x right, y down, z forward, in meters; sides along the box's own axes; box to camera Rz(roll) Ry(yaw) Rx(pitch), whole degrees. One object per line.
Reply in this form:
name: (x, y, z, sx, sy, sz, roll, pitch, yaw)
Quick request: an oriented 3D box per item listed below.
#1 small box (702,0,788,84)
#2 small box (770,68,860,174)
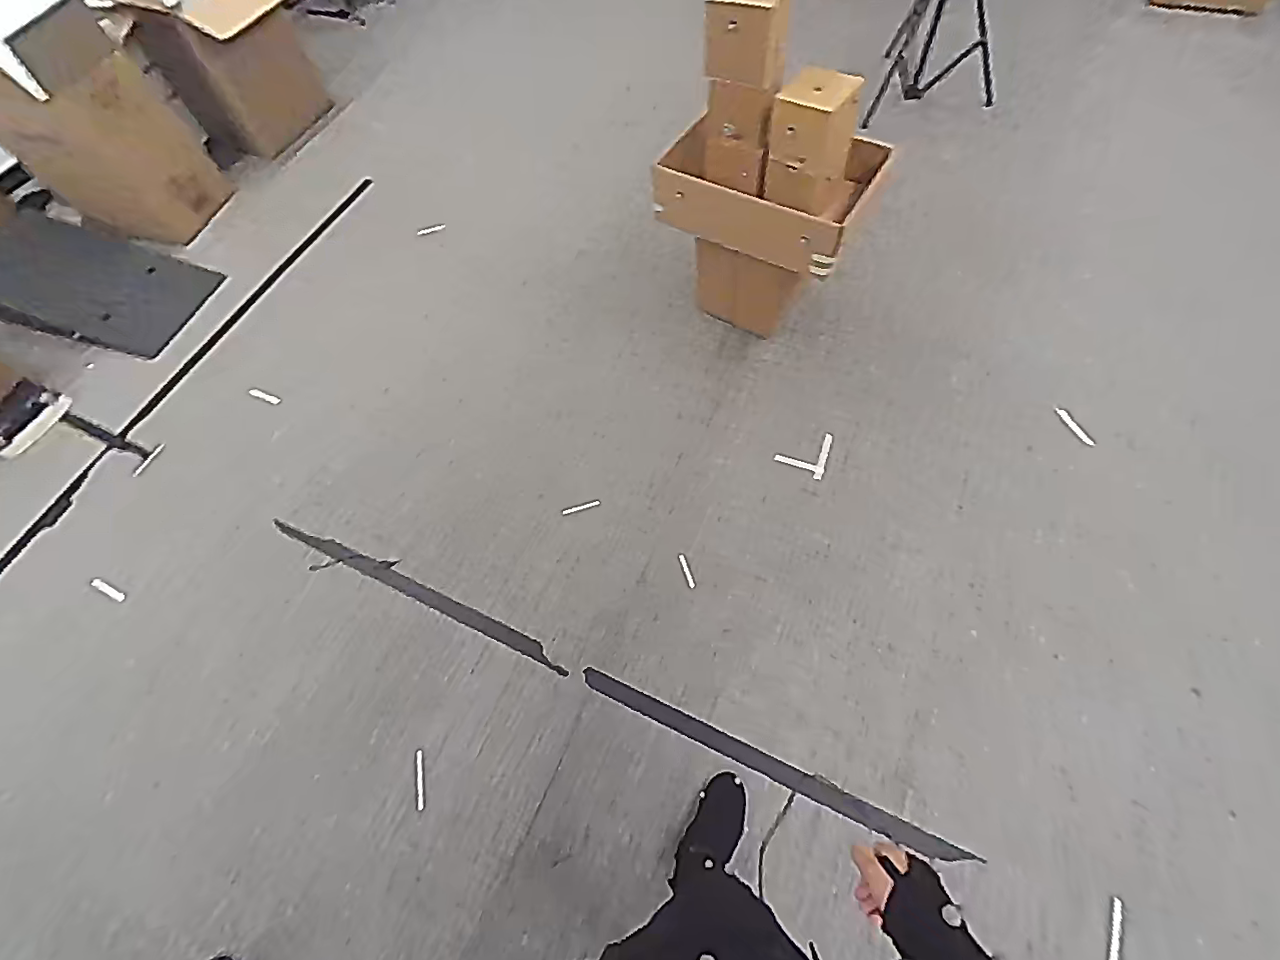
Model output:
small box: (0.269, -1.165, 1.402, 0.179, 0.176, 0.168, 21, 66, 15)
small box: (0.465, -0.969, 1.466, 0.168, 0.176, 0.179, 31, 69, 22)
